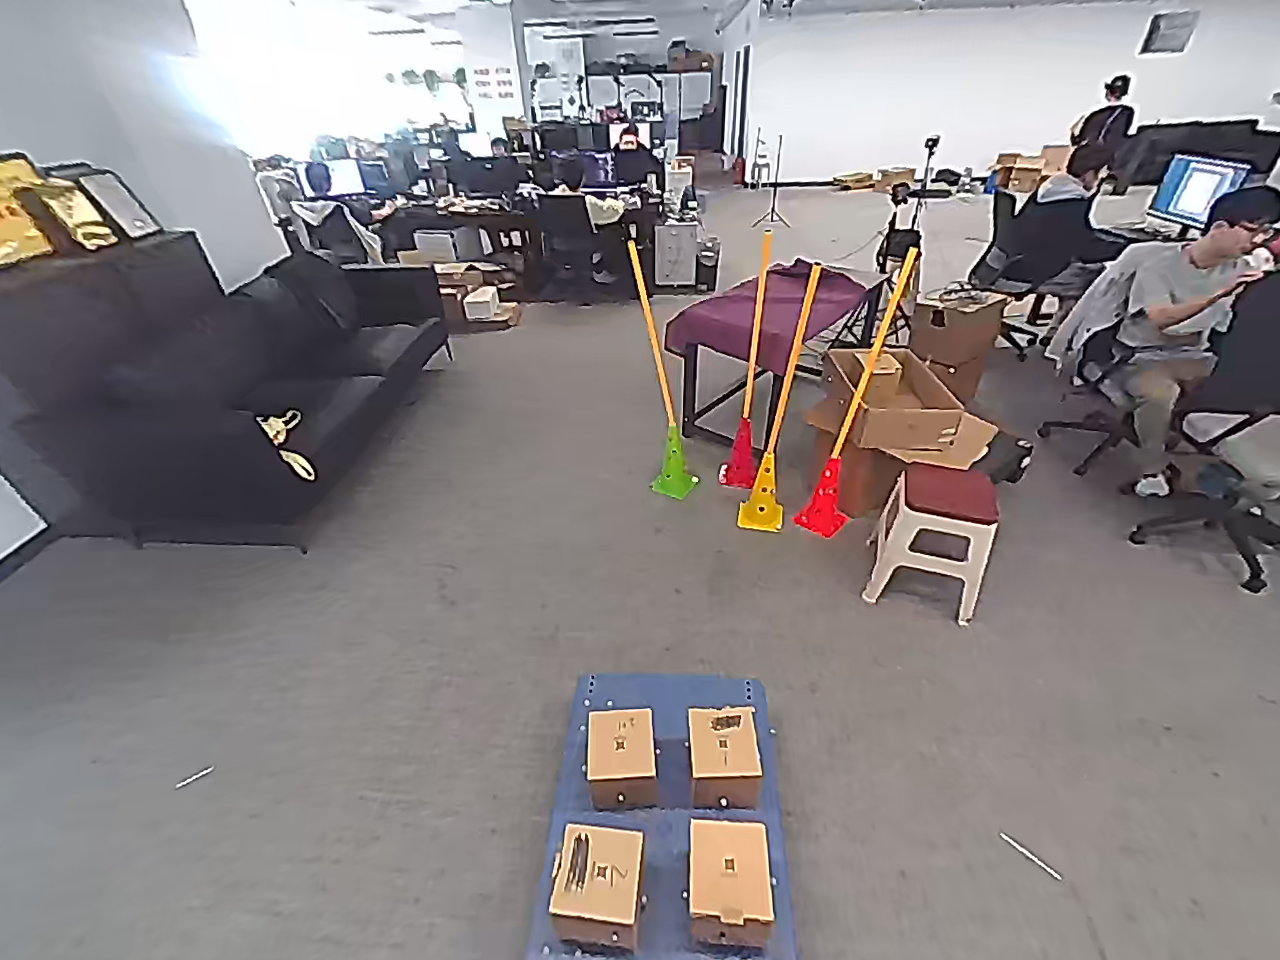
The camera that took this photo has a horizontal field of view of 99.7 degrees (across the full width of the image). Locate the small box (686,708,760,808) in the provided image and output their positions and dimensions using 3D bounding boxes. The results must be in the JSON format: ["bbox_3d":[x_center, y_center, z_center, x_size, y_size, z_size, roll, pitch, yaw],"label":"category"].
[{"bbox_3d":[0.206,0.712,1.389,0.168,0.176,0.179,-2,37,2],"label":"small box"}]

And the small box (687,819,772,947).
[{"bbox_3d":[0.187,0.872,1.174,0.168,0.176,0.179,1,37,5],"label":"small box"}]

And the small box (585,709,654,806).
[{"bbox_3d":[-0.050,0.719,1.394,0.168,0.176,0.179,-3,36,-1],"label":"small box"}]
